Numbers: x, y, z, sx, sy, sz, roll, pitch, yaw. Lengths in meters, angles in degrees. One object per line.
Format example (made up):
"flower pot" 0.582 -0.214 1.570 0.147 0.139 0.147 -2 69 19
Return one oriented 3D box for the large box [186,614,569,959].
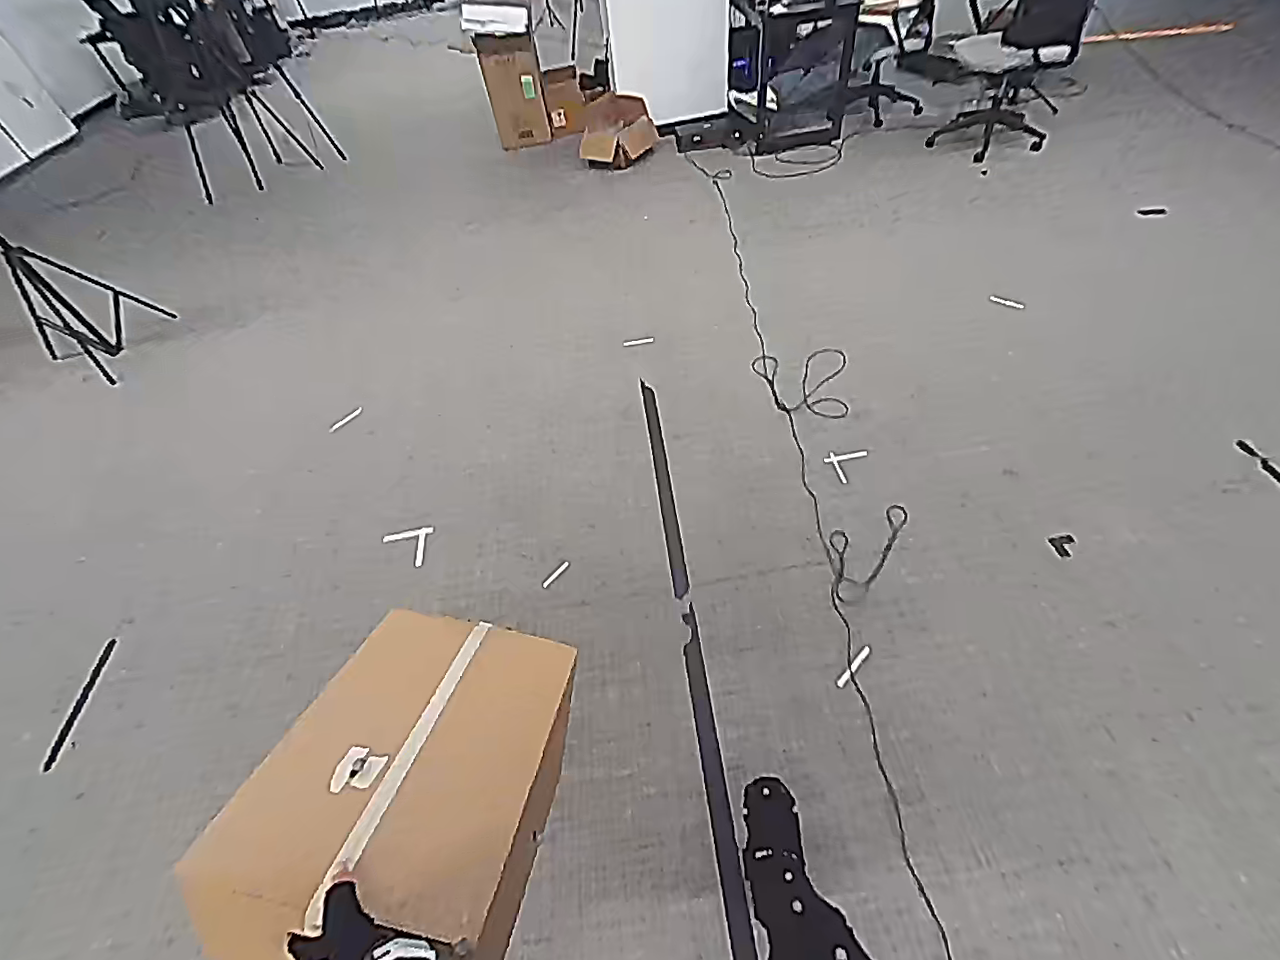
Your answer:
"large box" -0.309 0.469 0.778 0.320 0.320 0.408 11 29 3
